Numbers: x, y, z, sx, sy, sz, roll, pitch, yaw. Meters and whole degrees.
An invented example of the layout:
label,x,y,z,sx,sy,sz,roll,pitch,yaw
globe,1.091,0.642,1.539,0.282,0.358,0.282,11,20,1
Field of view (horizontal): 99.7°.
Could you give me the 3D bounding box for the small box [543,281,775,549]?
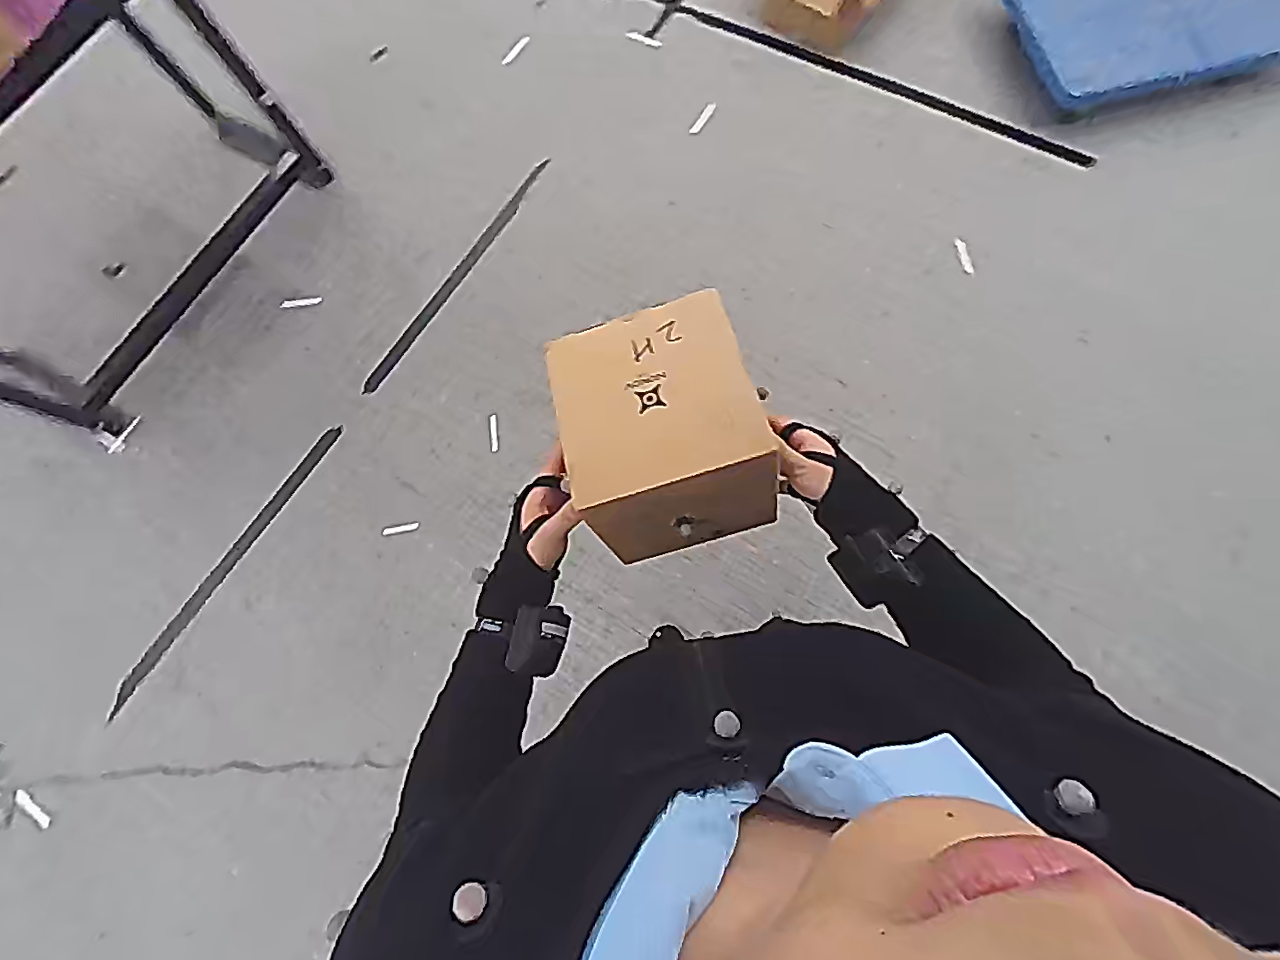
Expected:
label,x,y,z,sx,sy,sz,roll,pitch,yaw
small box,0.024,-0.046,0.514,0.168,0.176,0.179,-16,64,5
